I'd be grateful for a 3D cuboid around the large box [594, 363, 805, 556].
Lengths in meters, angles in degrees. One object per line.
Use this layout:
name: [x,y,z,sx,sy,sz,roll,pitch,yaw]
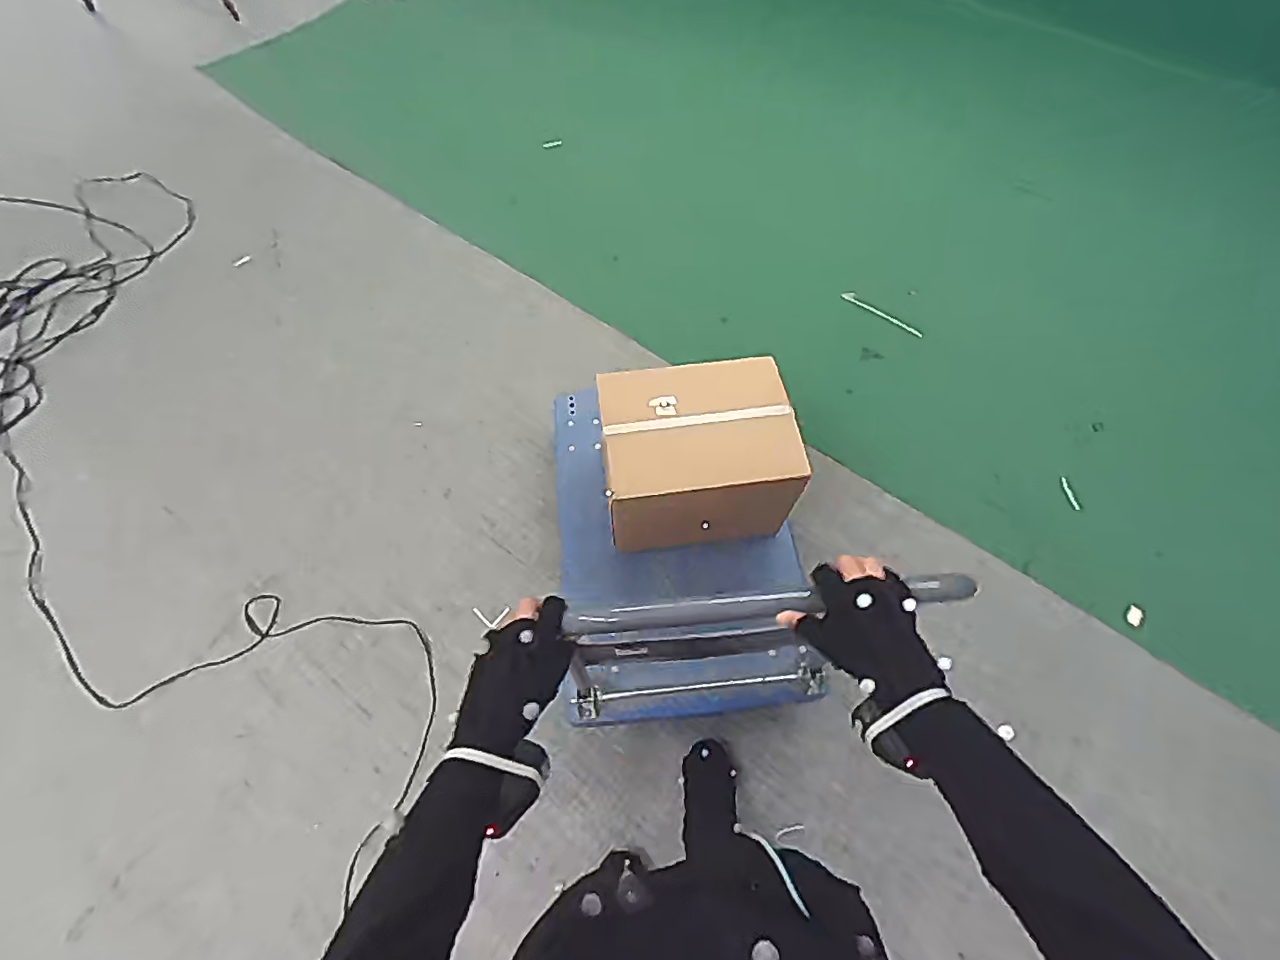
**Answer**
large box: [0.119,-0.036,1.270,0.408,0.320,0.320,-7,61,-3]
